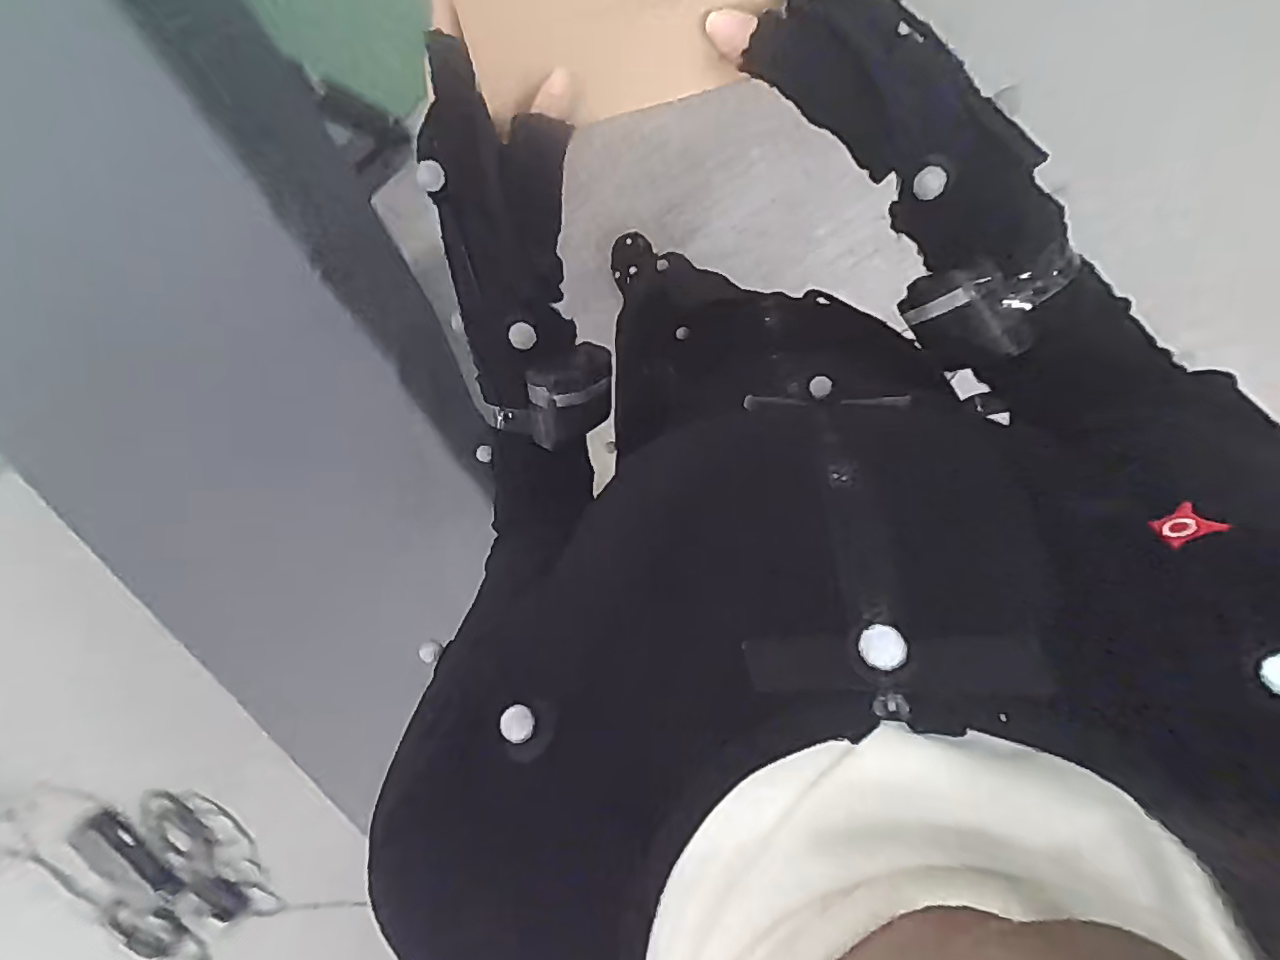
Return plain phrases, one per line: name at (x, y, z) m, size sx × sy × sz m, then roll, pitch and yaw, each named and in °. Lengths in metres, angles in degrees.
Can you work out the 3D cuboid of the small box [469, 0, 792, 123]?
small box at (-0.026, -0.327, 0.297) m, size 0.168 × 0.176 × 0.179 m, roll -15°, pitch 134°, yaw -2°
